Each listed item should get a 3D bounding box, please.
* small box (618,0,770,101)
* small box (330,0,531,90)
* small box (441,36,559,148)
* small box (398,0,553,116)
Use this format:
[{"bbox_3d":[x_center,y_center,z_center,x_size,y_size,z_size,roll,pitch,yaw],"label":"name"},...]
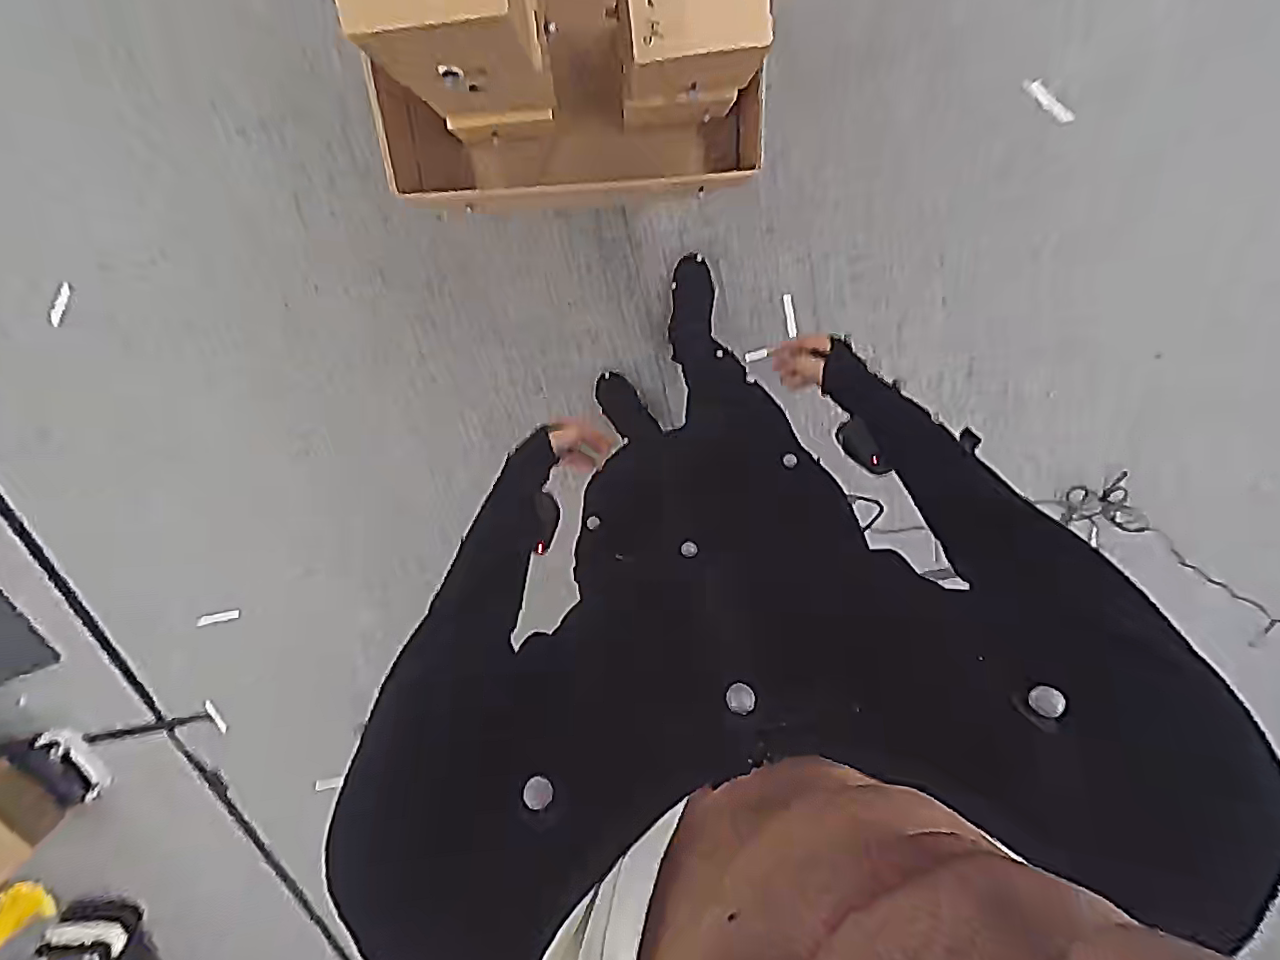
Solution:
[{"bbox_3d":[0.063,-0.625,0.711,0.179,0.176,0.168,-6,111,1],"label":"small box"},{"bbox_3d":[-0.219,-0.543,0.561,0.168,0.176,0.179,-6,110,1],"label":"small box"},{"bbox_3d":[-0.229,-0.652,0.871,0.168,0.176,0.179,-6,110,-1],"label":"small box"},{"bbox_3d":[-0.220,-0.602,0.714,0.179,0.176,0.168,-5,111,-1],"label":"small box"}]
